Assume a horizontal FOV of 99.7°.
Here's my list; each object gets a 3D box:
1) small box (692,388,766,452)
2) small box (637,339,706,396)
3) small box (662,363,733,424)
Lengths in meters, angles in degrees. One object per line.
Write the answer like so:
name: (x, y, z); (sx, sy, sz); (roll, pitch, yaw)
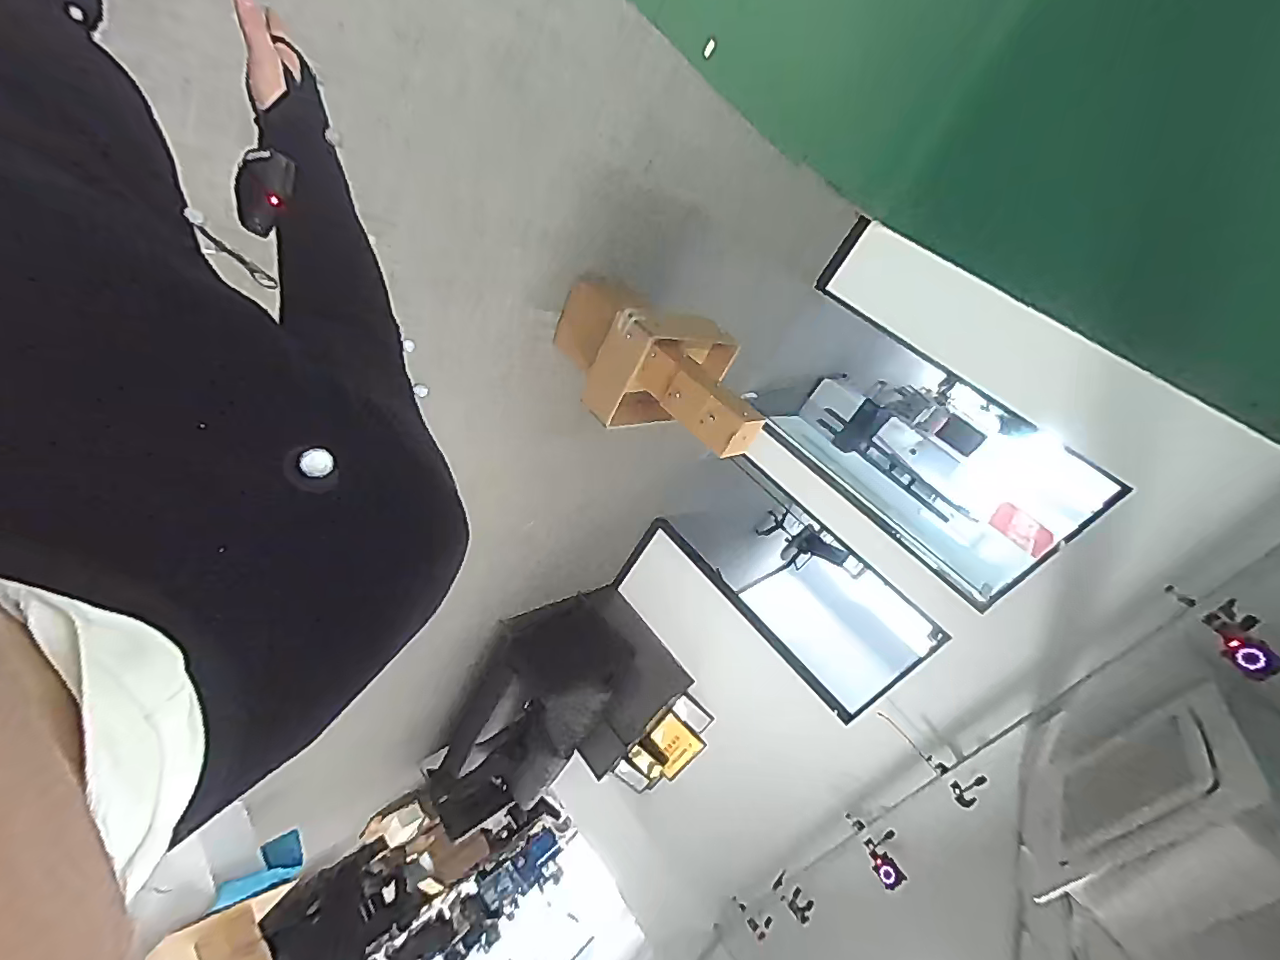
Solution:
small box: (0.326, -0.228, 1.995); (0.179, 0.176, 0.168); (-13, 142, -50)
small box: (0.118, -0.441, 2.130); (0.179, 0.176, 0.168); (-14, 142, -52)
small box: (0.218, -0.332, 2.056); (0.179, 0.176, 0.168); (-13, 141, -50)
